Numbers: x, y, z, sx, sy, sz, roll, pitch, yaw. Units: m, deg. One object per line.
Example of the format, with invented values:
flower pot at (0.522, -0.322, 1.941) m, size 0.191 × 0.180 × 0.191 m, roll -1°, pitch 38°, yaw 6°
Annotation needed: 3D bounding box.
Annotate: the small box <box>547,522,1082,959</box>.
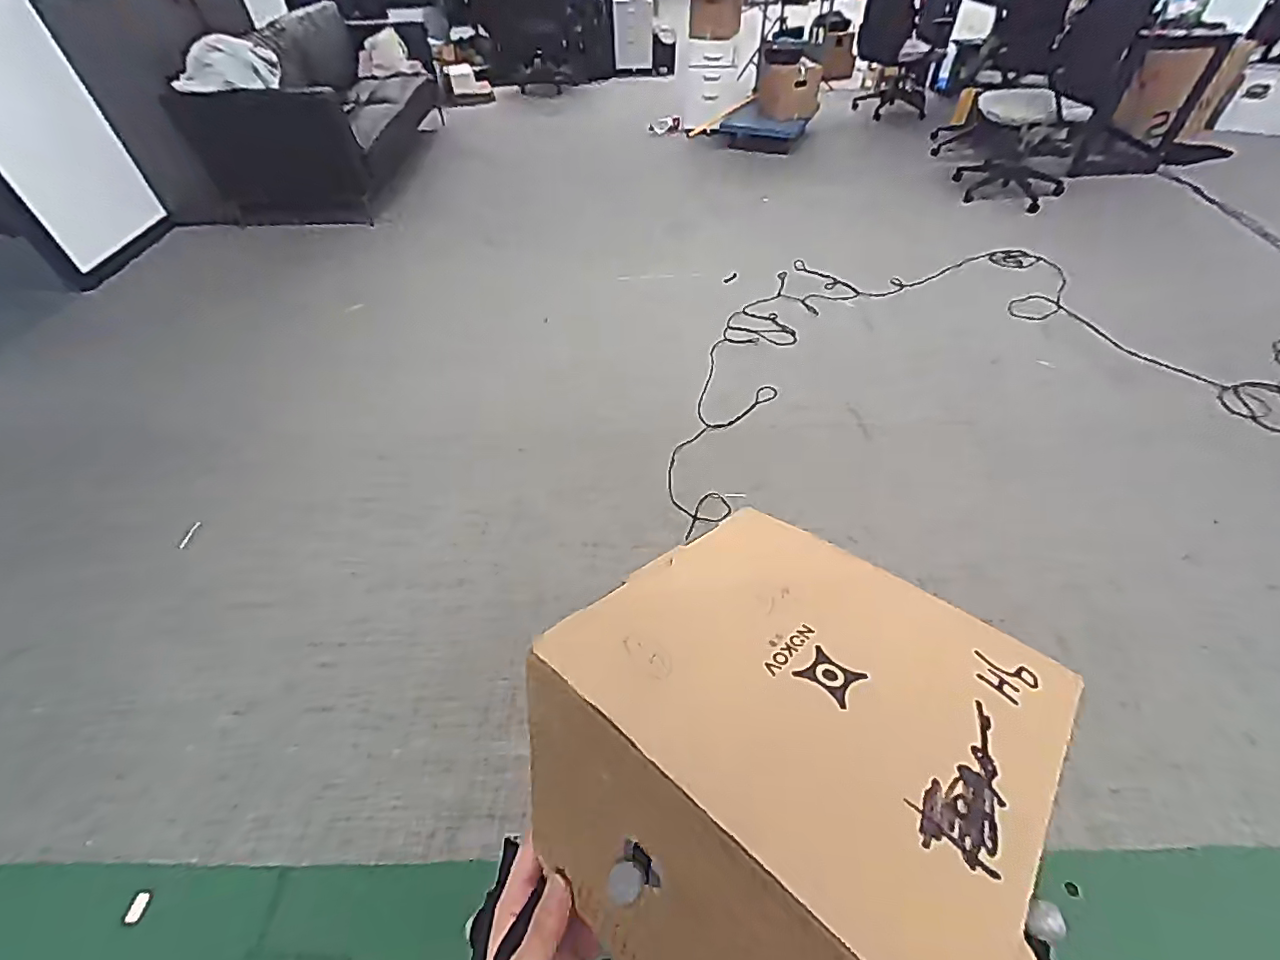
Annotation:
small box at (0.070, 0.153, 0.271) m, size 0.179 × 0.176 × 0.168 m, roll 28°, pitch 38°, yaw 34°
